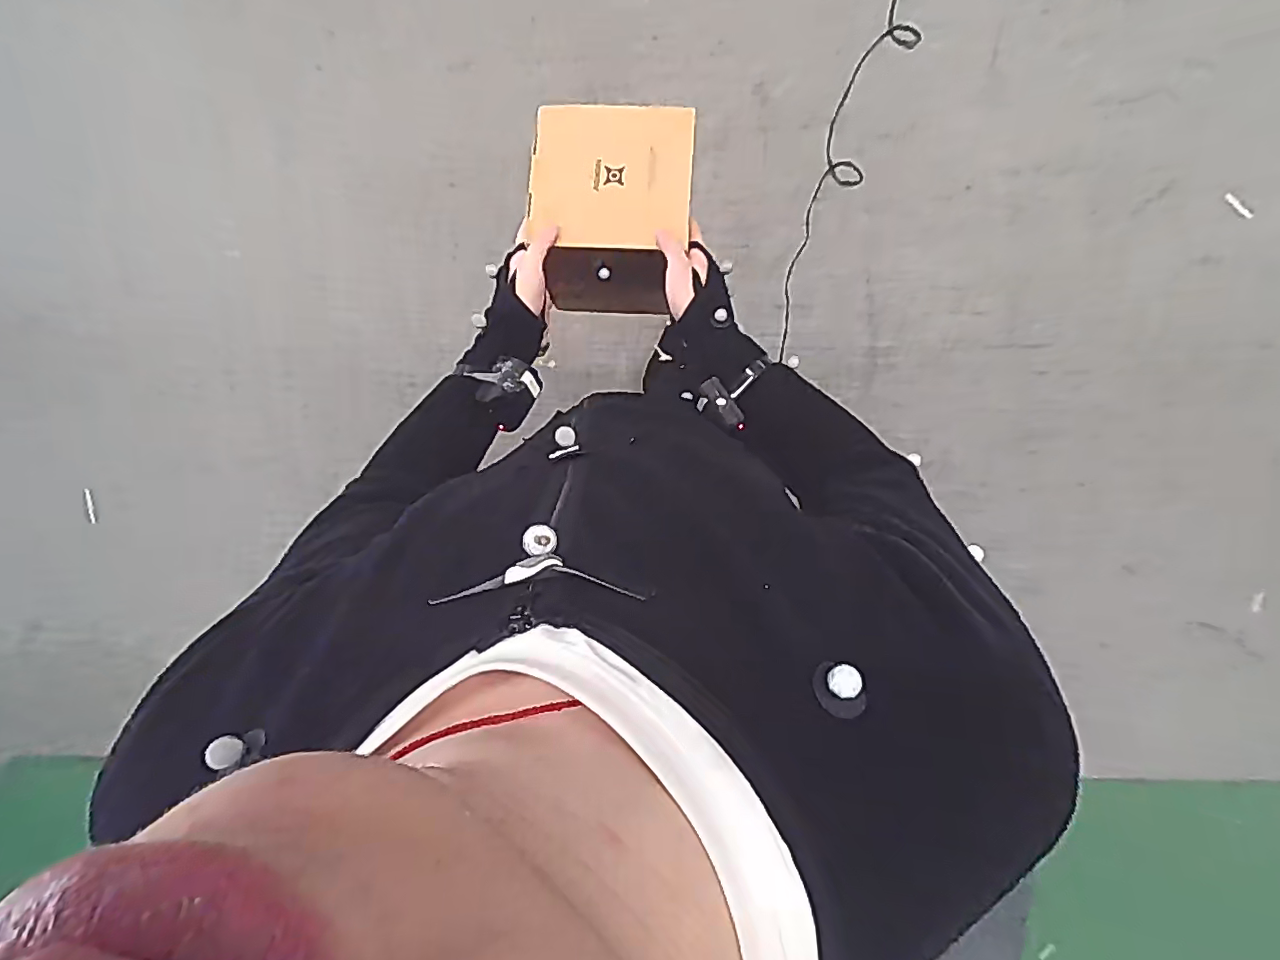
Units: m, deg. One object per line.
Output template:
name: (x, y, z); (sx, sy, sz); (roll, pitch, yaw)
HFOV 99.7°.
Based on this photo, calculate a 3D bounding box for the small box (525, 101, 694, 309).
small box: (-0.029, -0.321, 0.661); (0.179, 0.176, 0.168); (3, 84, 2)
